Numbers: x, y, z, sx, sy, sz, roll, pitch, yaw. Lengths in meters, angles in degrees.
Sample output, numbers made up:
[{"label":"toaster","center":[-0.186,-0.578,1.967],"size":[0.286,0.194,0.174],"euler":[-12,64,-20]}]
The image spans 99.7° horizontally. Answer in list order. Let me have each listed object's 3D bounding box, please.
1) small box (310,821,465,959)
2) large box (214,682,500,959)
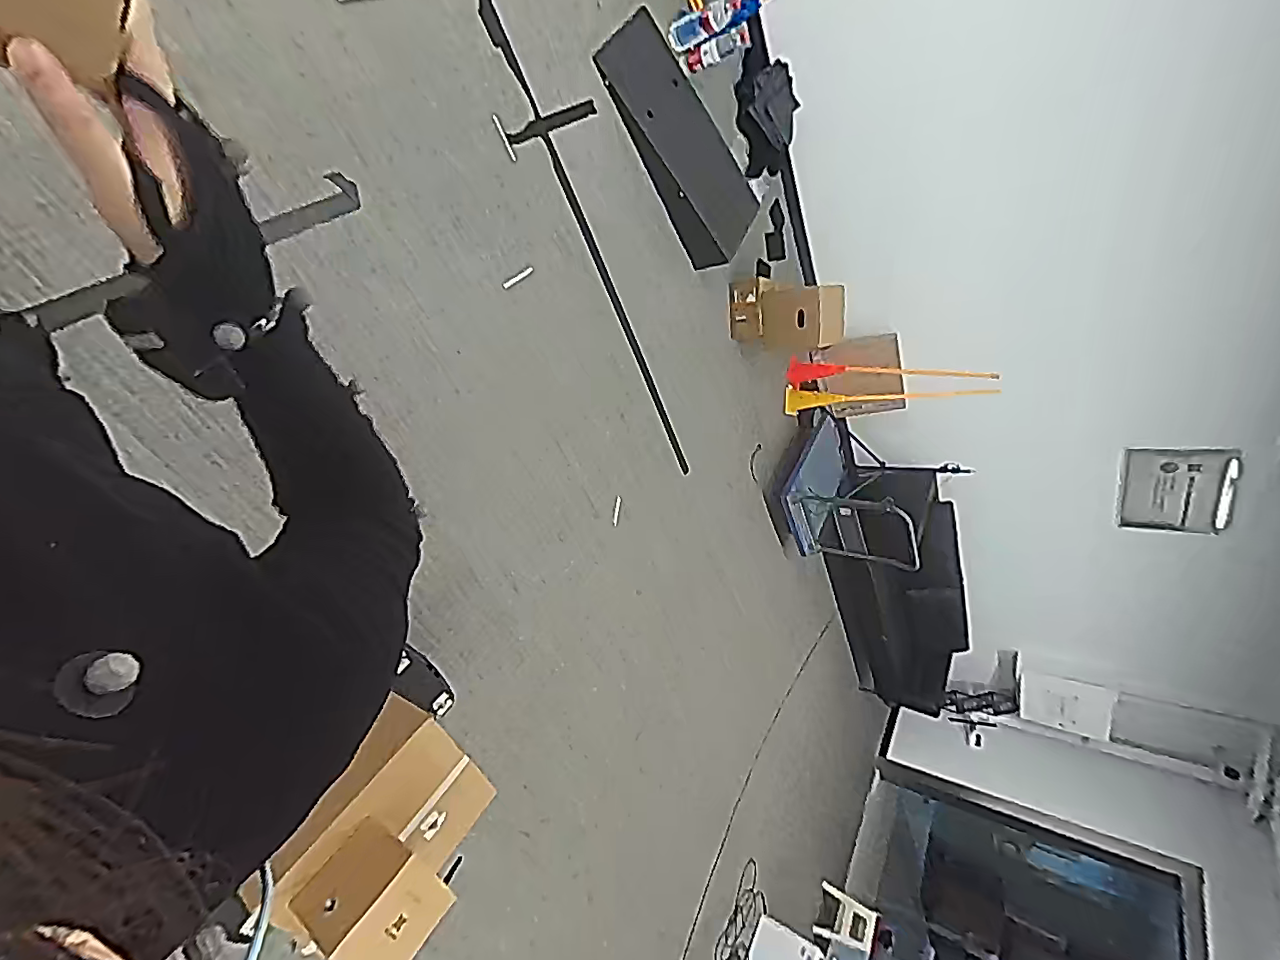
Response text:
[{"label":"small box","center":[-0.465,0.778,0.986],"size":[0.179,0.176,0.168],"euler":[-45,125,-40]},{"label":"large box","center":[-0.605,0.738,1.200],"size":[0.408,0.320,0.320],"euler":[-48,128,-39]}]
